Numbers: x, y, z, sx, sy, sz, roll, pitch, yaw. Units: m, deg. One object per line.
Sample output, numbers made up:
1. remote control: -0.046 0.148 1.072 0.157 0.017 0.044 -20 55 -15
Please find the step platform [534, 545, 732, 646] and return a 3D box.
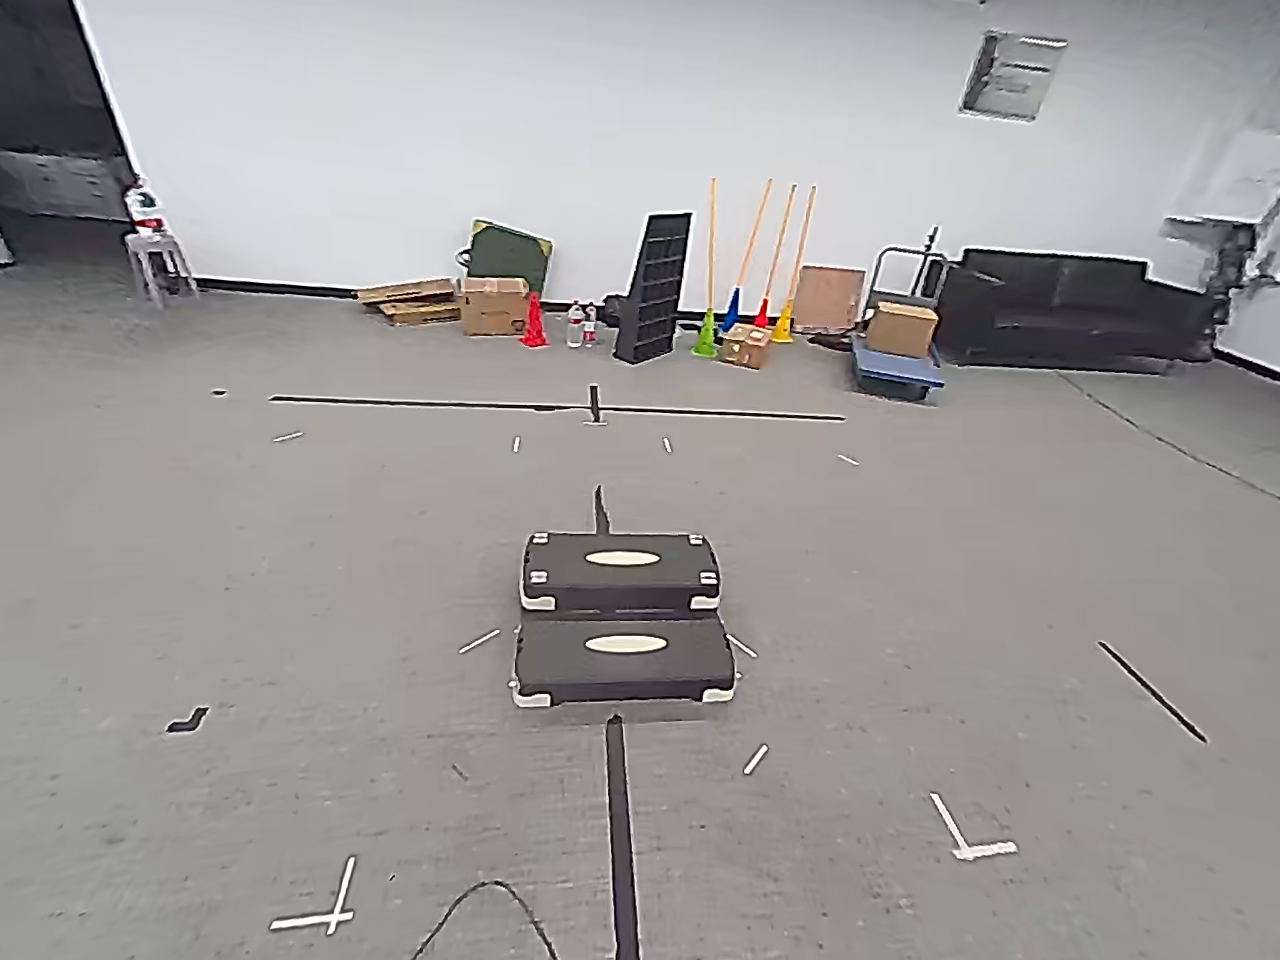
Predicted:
1. step platform: -0.023 0.400 1.901 0.684 0.204 0.286 4 31 -4
